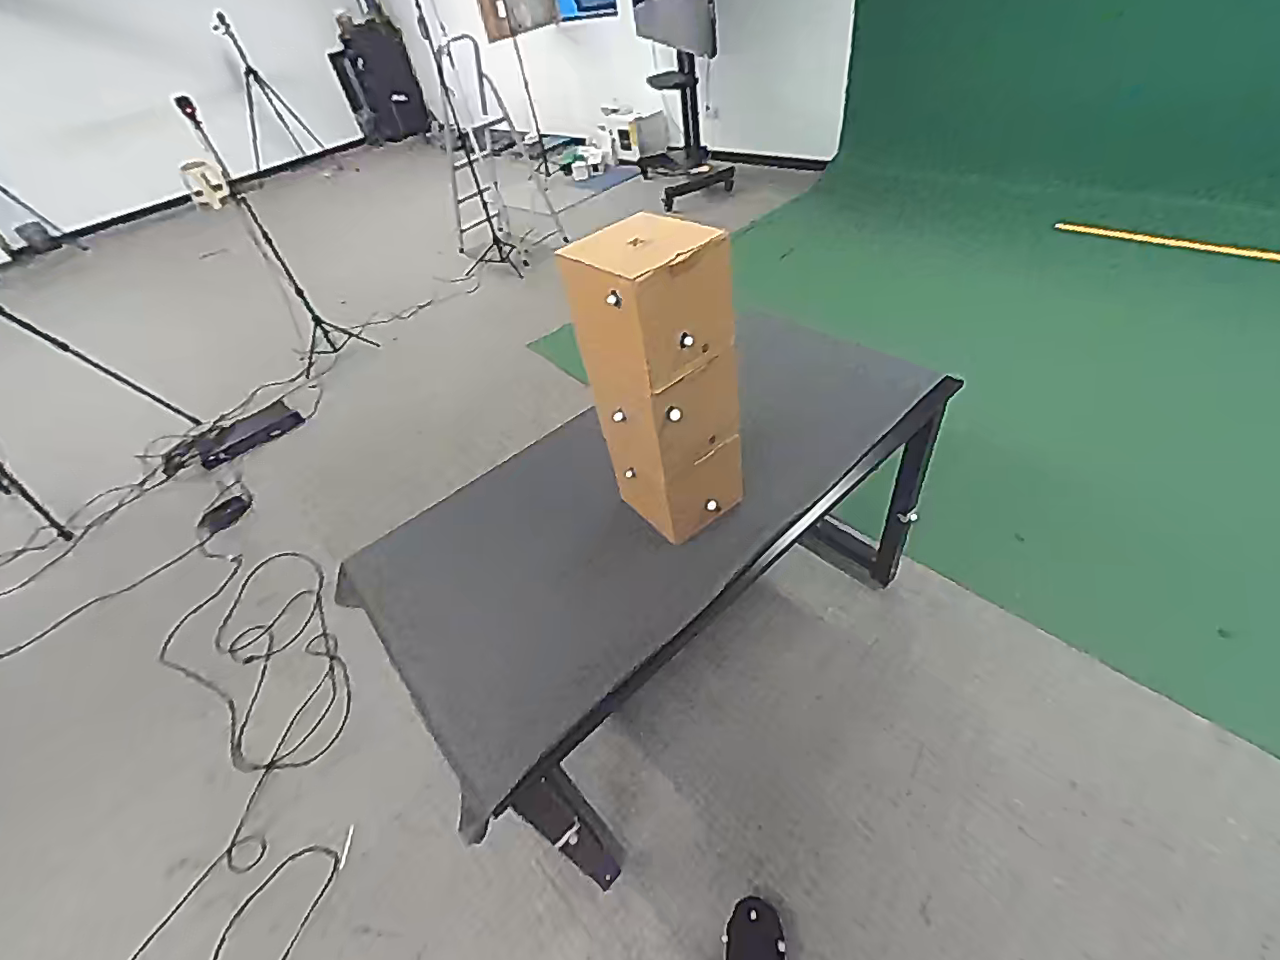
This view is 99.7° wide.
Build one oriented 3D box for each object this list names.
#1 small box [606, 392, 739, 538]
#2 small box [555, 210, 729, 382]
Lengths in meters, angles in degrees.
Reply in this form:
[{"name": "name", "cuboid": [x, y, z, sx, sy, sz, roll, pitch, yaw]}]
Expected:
[{"name": "small box", "cuboid": [0.063, -0.027, 0.989, 0.168, 0.176, 0.179, -32, 47, -20]}, {"name": "small box", "cuboid": [0.009, -0.262, 0.768, 0.168, 0.176, 0.179, -36, 47, -24]}]
